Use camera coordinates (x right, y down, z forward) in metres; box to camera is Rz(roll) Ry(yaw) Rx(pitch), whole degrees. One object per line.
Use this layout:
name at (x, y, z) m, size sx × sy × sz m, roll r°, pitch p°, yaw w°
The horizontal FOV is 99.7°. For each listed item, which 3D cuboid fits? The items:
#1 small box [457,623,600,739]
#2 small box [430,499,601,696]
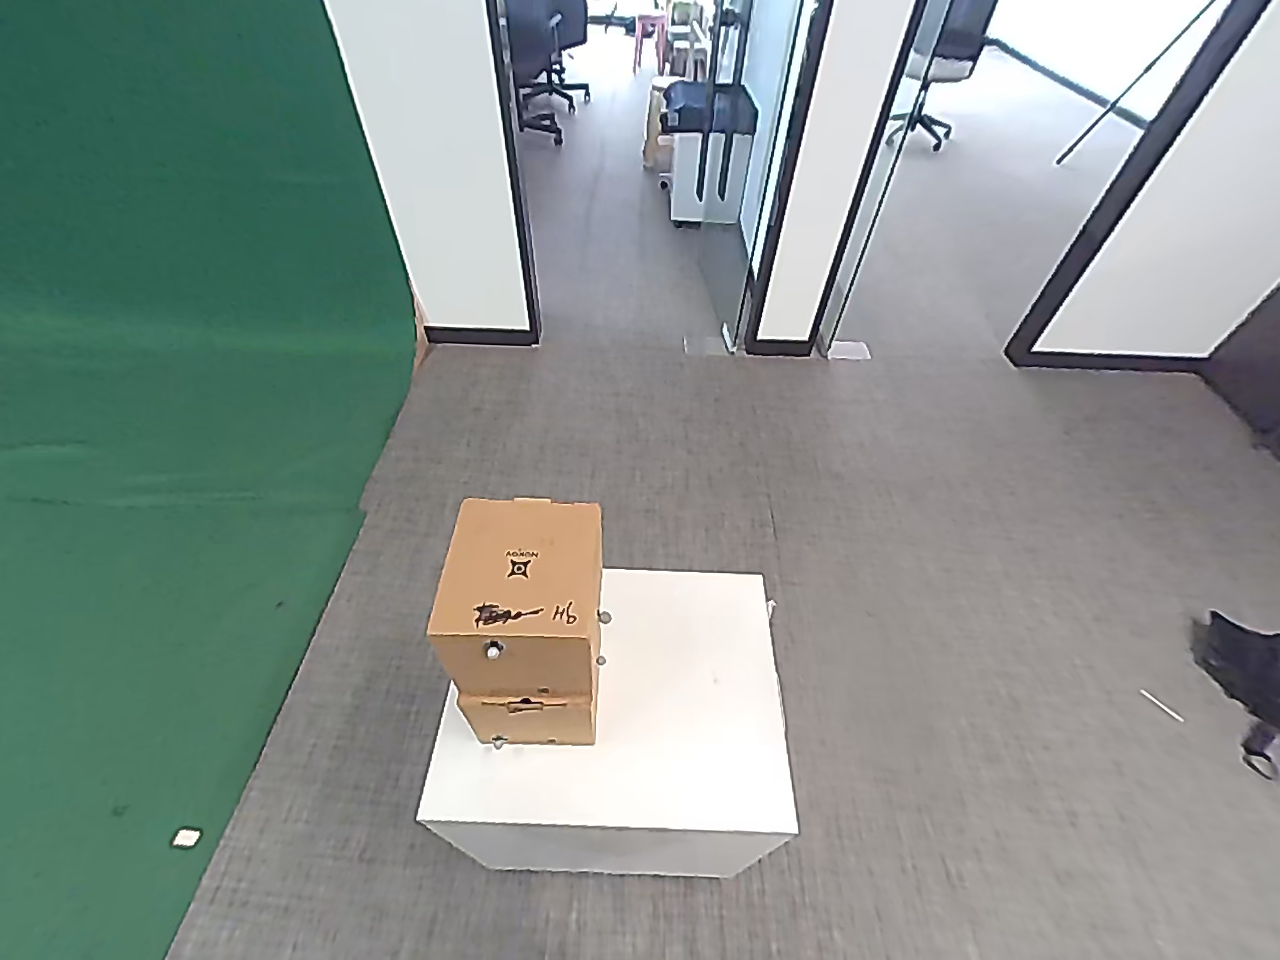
small box at (-0.145, 0.259, 0.779) m, size 0.168 × 0.176 × 0.179 m, roll 2°, pitch 48°, yaw -1°
small box at (-0.135, 0.144, 0.663) m, size 0.168 × 0.176 × 0.179 m, roll 2°, pitch 48°, yaw -1°
